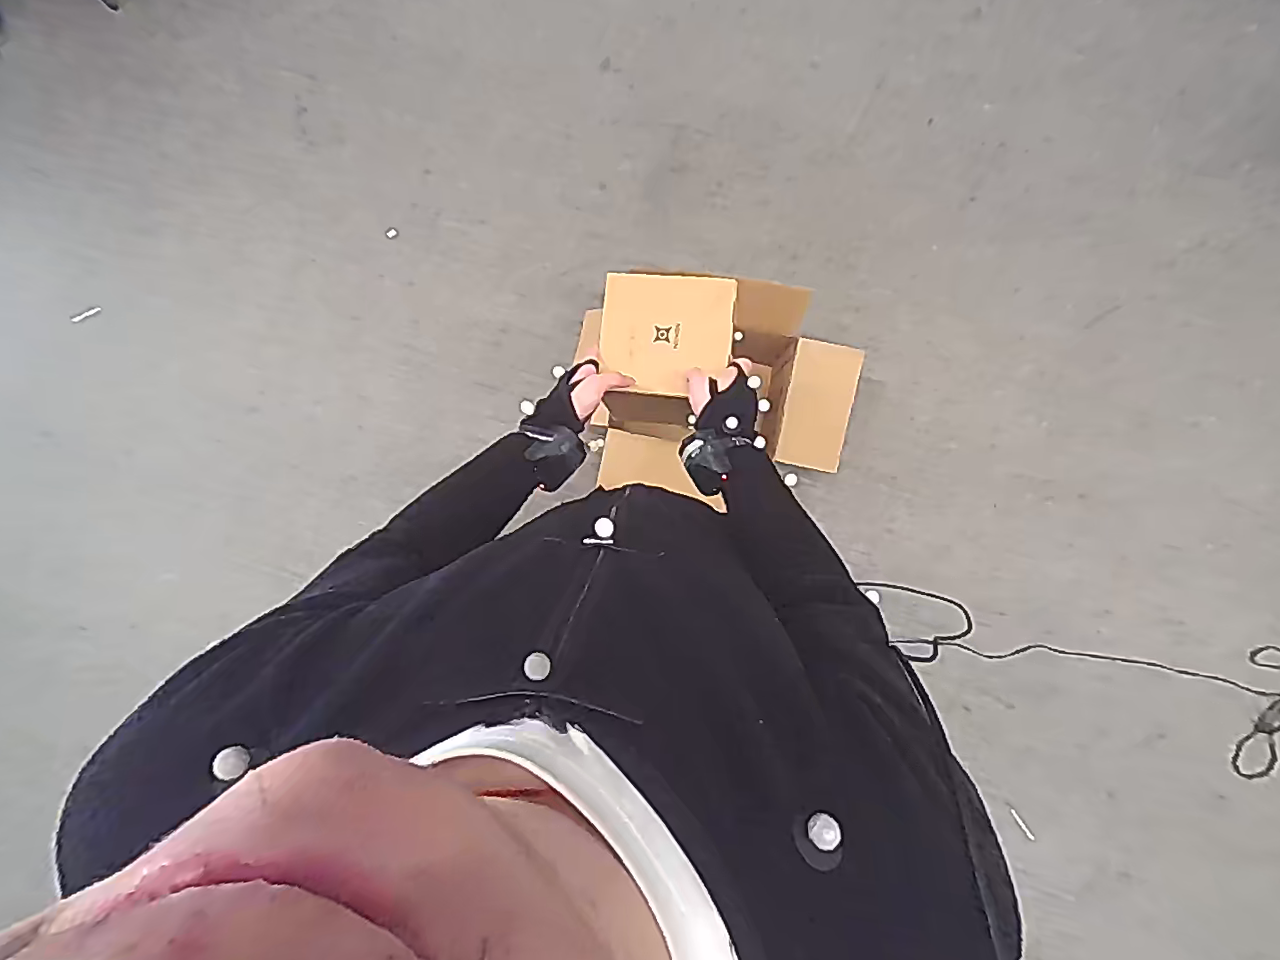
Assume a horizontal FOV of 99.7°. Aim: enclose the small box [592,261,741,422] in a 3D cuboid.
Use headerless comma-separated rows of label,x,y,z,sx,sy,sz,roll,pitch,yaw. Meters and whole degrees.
small box,0.043,-0.187,0.771,0.179,0.176,0.168,7,81,8
